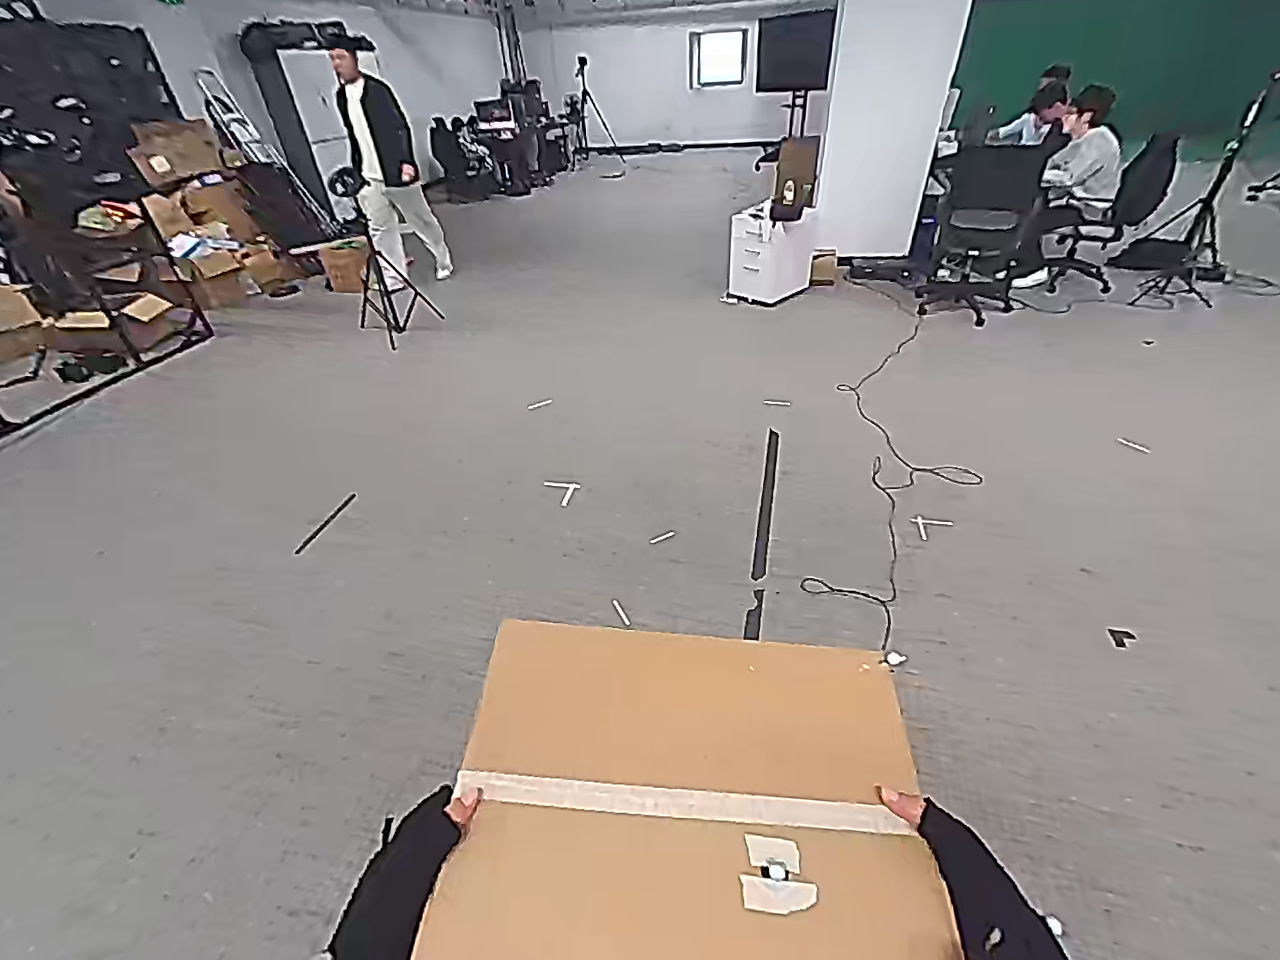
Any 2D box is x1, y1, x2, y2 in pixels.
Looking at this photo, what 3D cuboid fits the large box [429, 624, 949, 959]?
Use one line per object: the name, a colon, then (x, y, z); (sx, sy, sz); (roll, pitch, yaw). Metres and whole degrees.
large box: (0.037, 0.382, 0.591); (0.408, 0.320, 0.320); (5, 48, 0)
